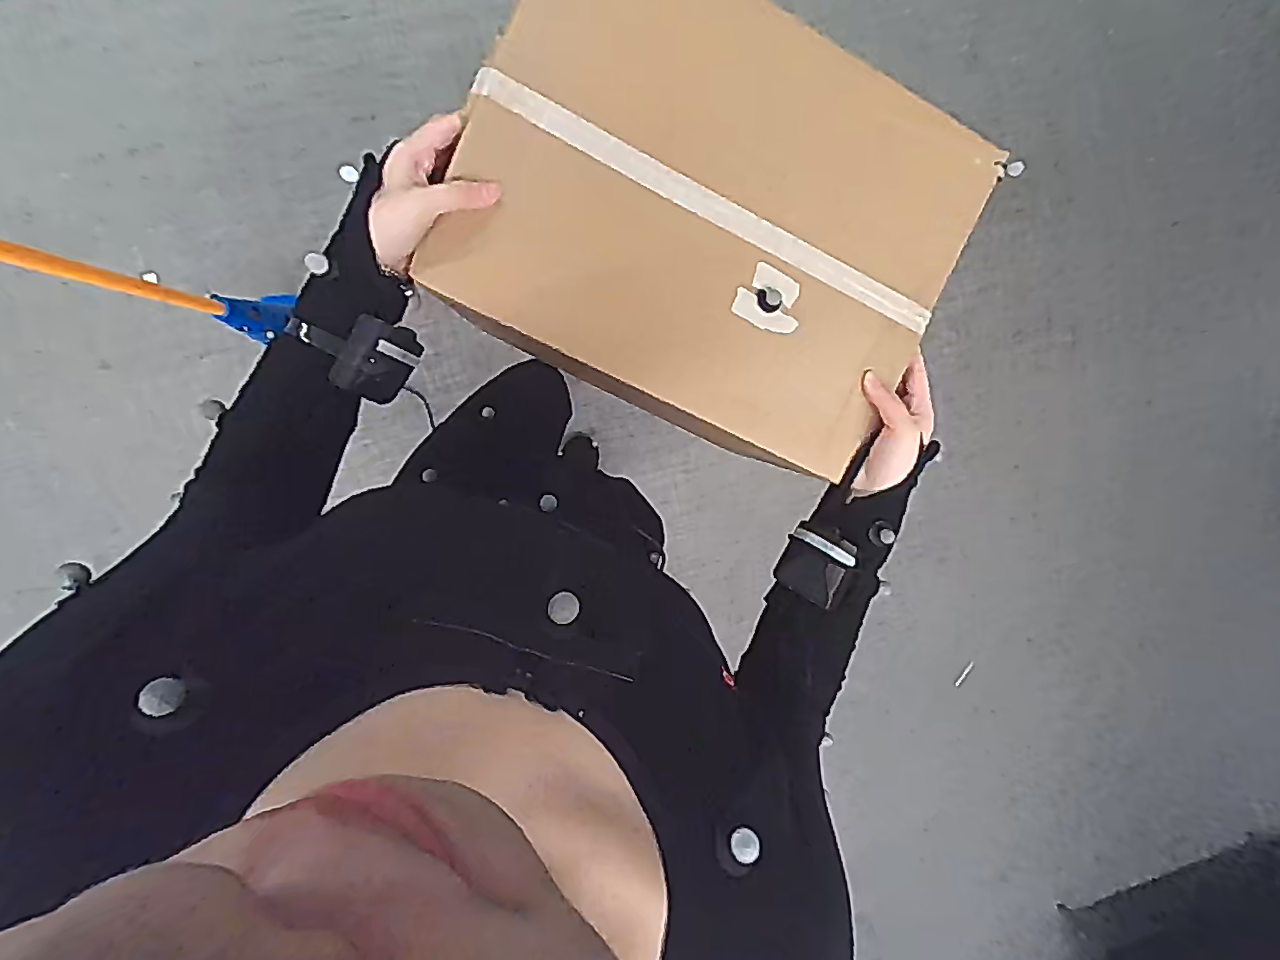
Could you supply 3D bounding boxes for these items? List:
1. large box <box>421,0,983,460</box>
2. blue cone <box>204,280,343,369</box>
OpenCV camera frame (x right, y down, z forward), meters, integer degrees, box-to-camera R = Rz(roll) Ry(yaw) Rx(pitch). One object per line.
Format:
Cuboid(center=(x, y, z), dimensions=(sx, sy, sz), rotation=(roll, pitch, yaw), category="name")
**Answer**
Cuboid(center=(0.041, -0.250, 0.594), dimensions=(0.408, 0.320, 0.320), rotation=(23, 95, -11), category="large box")
Cuboid(center=(-0.816, -0.360, 1.180), dimensions=(0.193, 0.380, 0.192), rotation=(-5, 97, -9), category="blue cone")
